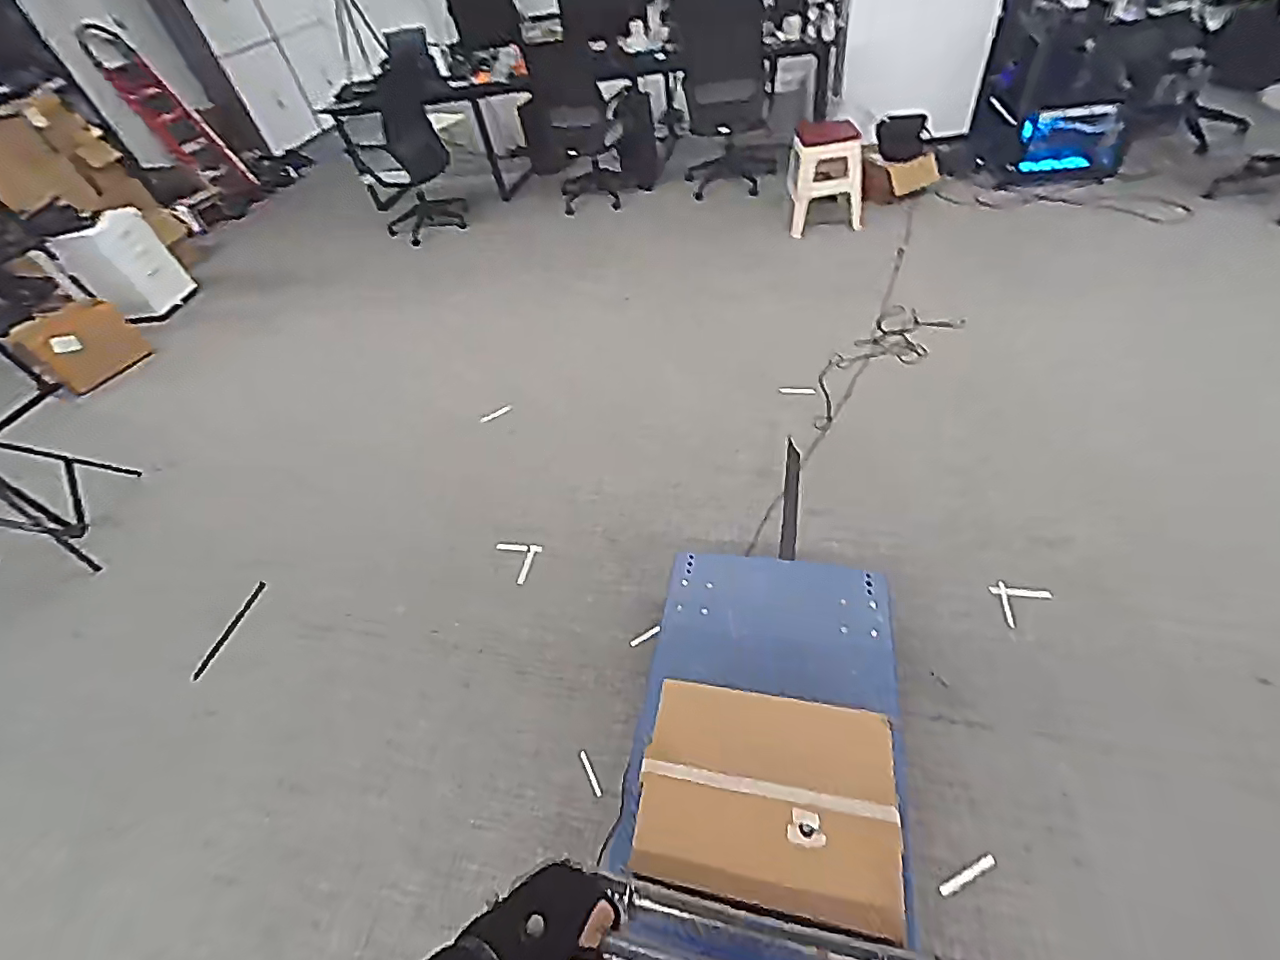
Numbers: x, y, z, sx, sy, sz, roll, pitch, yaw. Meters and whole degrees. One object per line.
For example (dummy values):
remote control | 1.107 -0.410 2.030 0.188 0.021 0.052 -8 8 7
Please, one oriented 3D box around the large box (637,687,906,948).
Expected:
large box | 0.233 0.622 1.011 0.408 0.320 0.320 4 49 14
